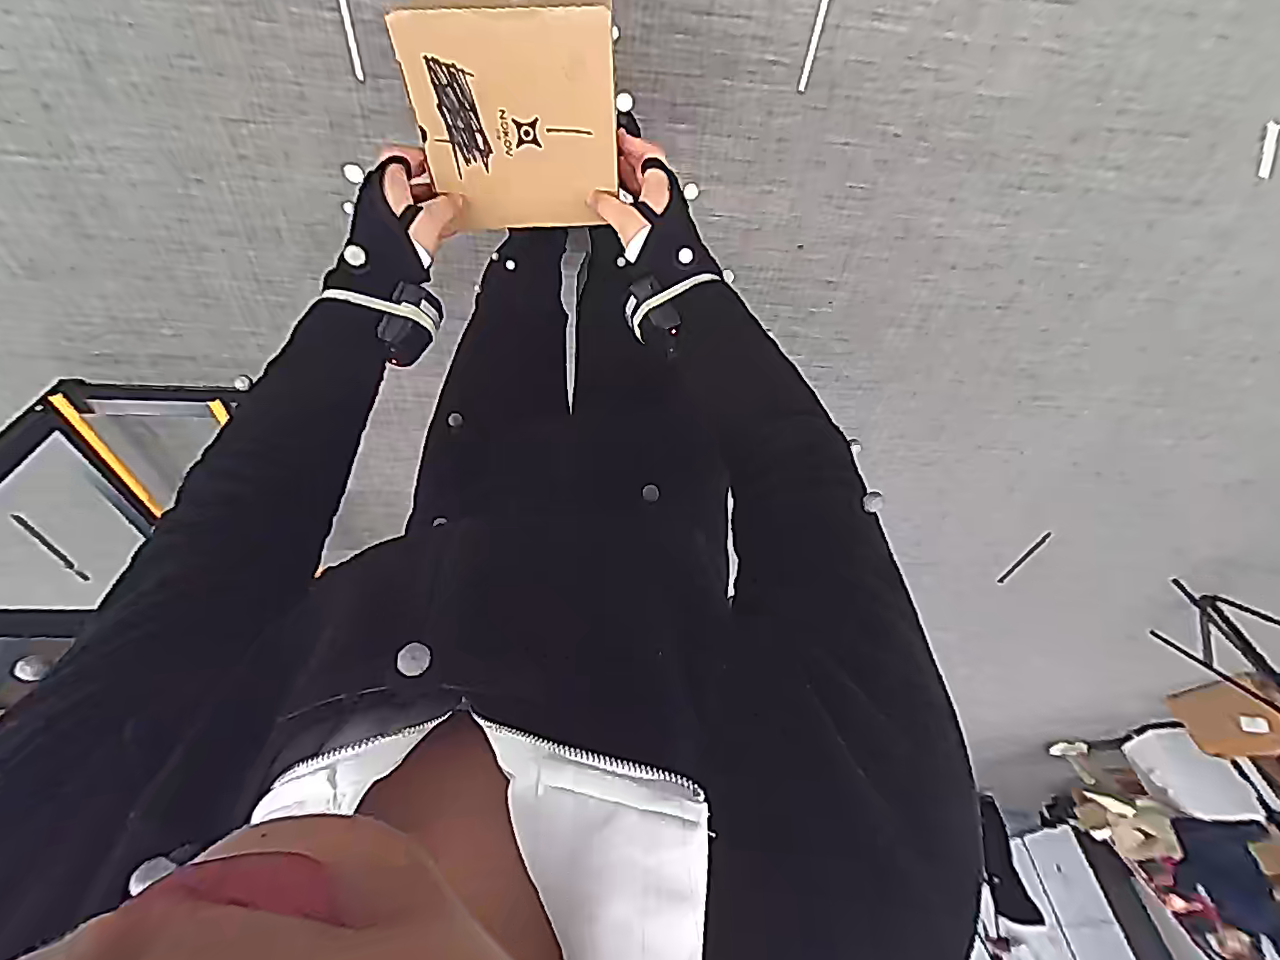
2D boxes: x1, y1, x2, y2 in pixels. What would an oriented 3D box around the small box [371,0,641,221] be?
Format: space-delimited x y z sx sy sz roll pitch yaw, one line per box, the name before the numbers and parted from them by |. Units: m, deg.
small box | -0.090 -0.331 0.444 0.179 0.176 0.168 -3 138 -2
